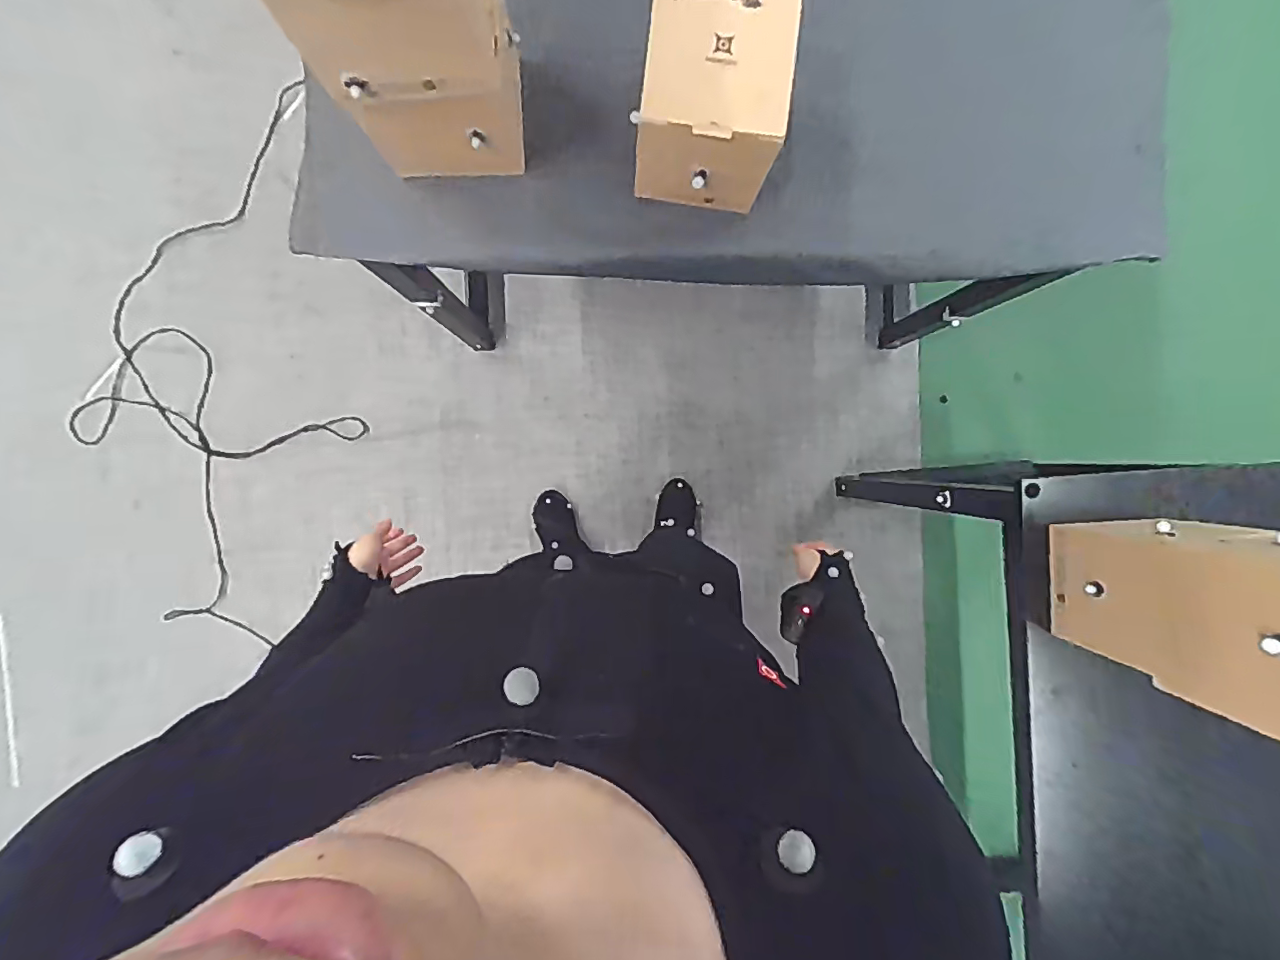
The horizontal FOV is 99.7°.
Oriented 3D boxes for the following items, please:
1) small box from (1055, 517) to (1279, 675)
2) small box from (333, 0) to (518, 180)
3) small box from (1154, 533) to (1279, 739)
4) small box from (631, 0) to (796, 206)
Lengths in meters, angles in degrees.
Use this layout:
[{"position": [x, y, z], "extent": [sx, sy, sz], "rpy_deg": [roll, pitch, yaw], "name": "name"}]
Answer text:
[{"position": [0.688, 0.142, 0.711], "extent": [0.179, 0.176, 0.168], "rpy_deg": [-3, 93, -2], "name": "small box"}, {"position": [-0.250, -0.495, 0.663], "extent": [0.179, 0.176, 0.168], "rpy_deg": [-3, 90, -1], "name": "small box"}, {"position": [0.678, 0.155, 0.549], "extent": [0.168, 0.176, 0.179], "rpy_deg": [-3, 92, -1], "name": "small box"}, {"position": [0.081, -0.470, 0.673], "extent": [0.168, 0.176, 0.179], "rpy_deg": [7, 91, -1], "name": "small box"}]
